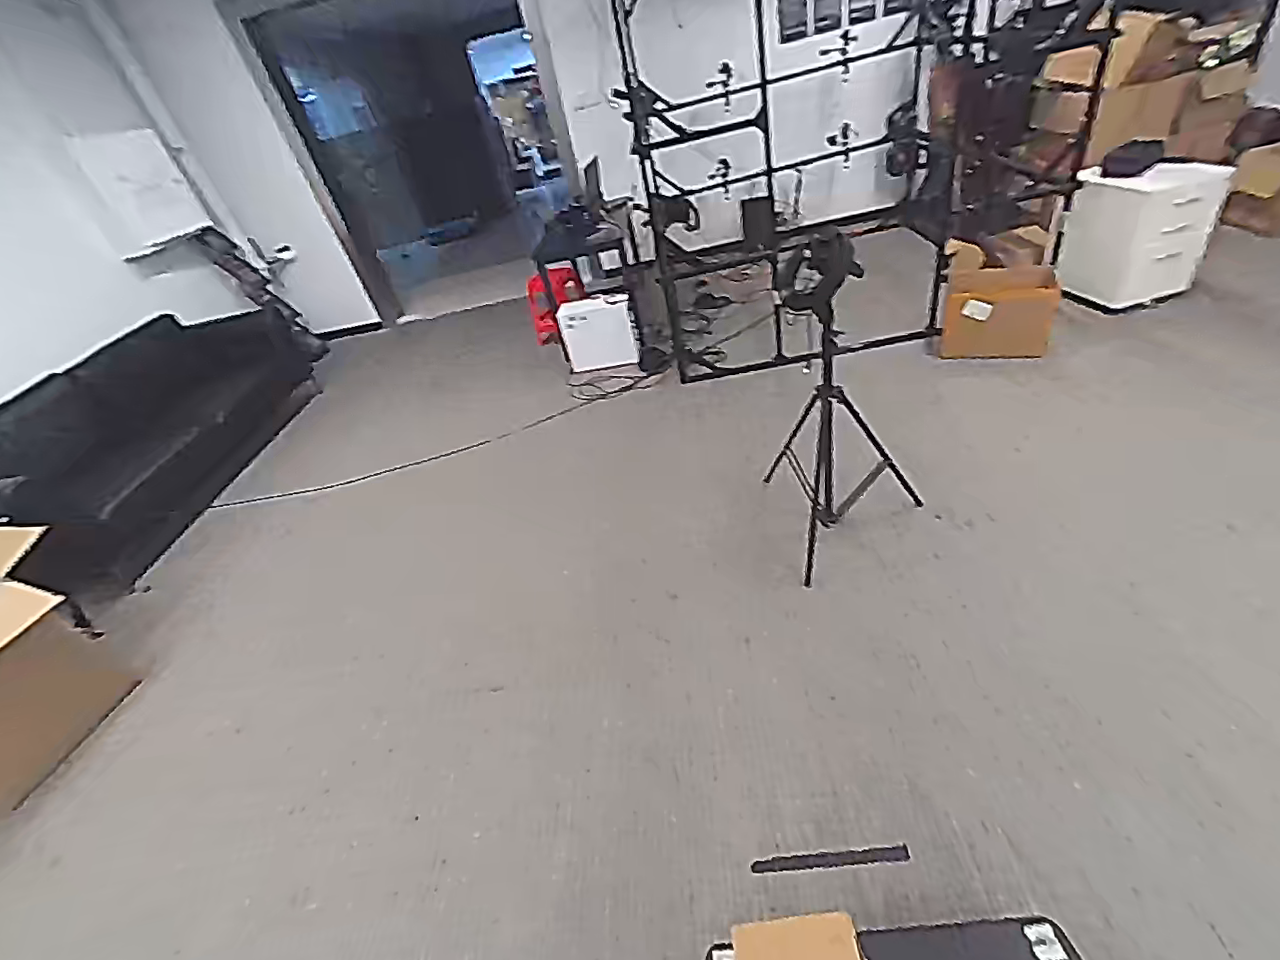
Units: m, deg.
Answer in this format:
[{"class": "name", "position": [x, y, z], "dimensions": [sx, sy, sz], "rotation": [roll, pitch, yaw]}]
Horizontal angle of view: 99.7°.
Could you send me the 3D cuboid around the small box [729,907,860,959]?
[{"class": "small box", "position": [0.235, 0.753, 0.782], "dimensions": [0.179, 0.176, 0.168], "rotation": [-12, 36, 4]}]
